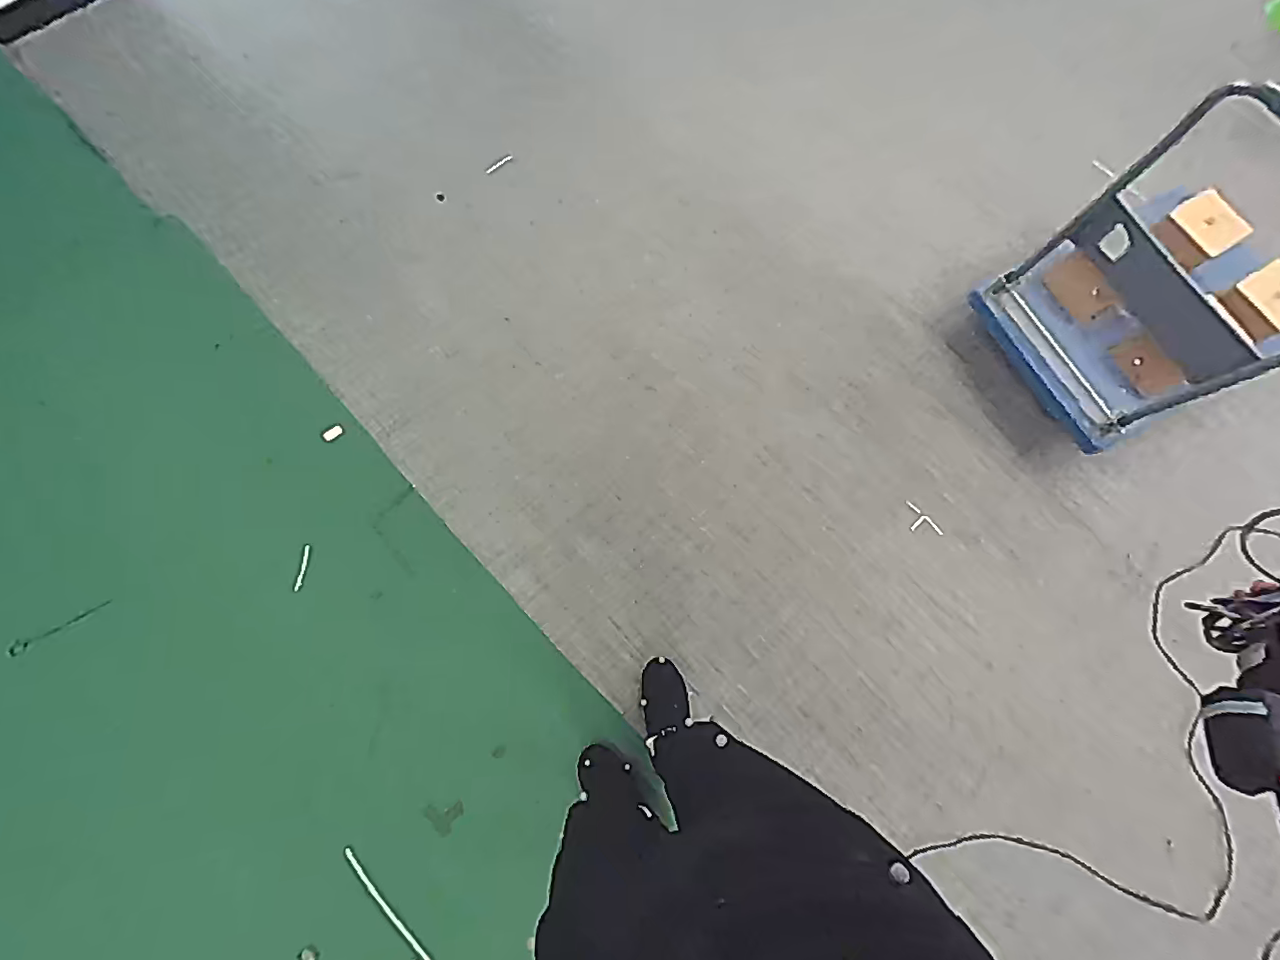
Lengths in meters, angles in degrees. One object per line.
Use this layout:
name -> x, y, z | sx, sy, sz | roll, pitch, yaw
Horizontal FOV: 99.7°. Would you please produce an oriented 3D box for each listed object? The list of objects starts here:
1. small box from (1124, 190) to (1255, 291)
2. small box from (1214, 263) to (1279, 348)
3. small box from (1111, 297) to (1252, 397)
small box -> 1.548, -0.674, 1.542 | 0.179, 0.176, 0.168 | -29, 79, -10
small box -> 1.671, -0.455, 1.488 | 0.179, 0.176, 0.168 | -28, 77, -9
small box -> 1.438, -0.351, 1.449 | 0.179, 0.176, 0.168 | -25, 77, -9
